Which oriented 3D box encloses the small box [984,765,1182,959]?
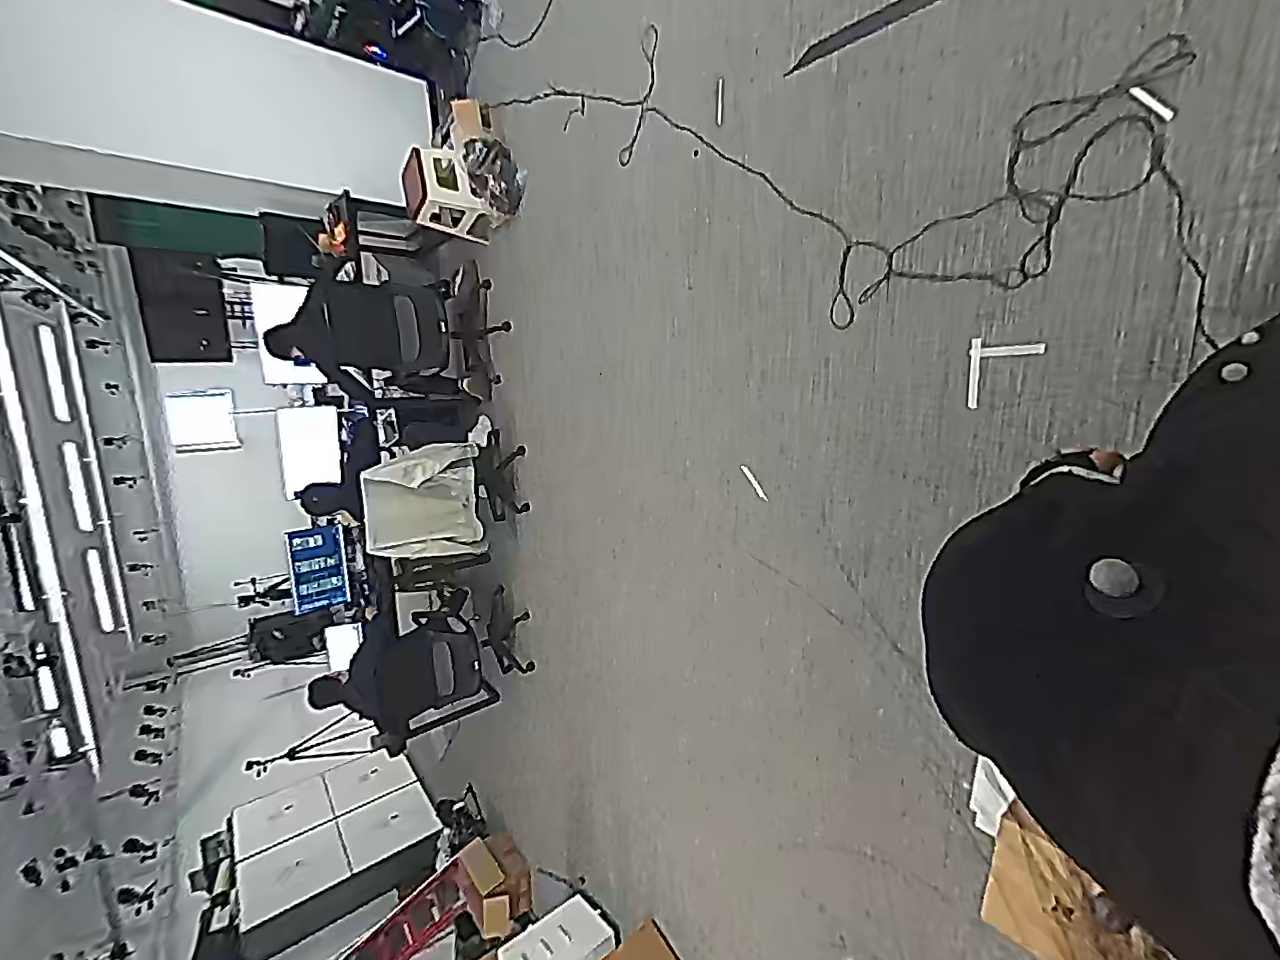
[{"bbox_3d":[0.606,0.536,0.741,0.168,0.176,0.179,16,110,49],"label":"small box"}]
